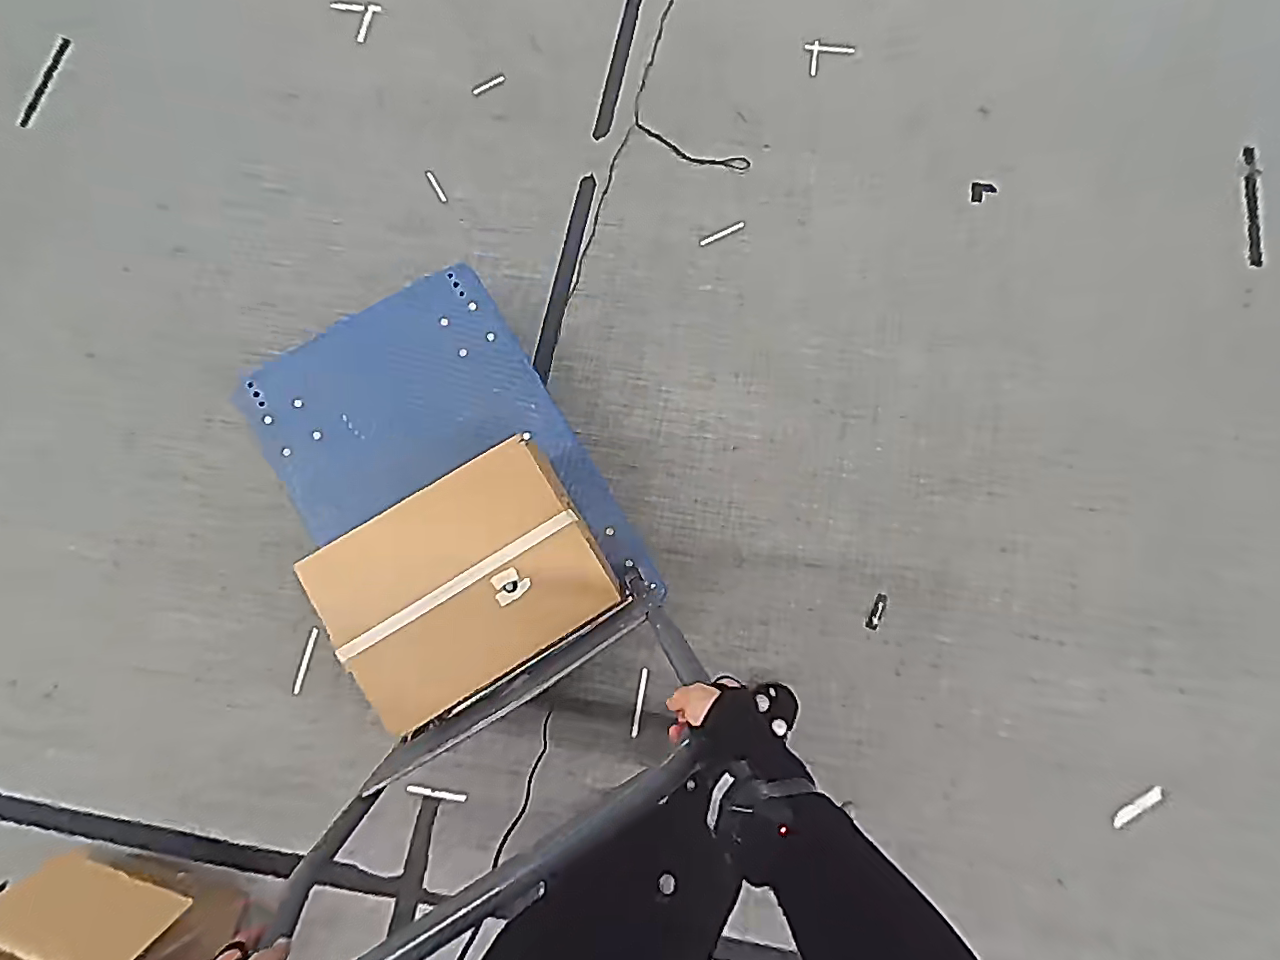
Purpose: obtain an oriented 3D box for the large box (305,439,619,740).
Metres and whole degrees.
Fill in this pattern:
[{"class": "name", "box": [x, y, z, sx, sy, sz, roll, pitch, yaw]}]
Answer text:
[{"class": "large box", "box": [-0.287, 0.182, 0.996, 0.408, 0.320, 0.320, -32, 88, -7]}]
